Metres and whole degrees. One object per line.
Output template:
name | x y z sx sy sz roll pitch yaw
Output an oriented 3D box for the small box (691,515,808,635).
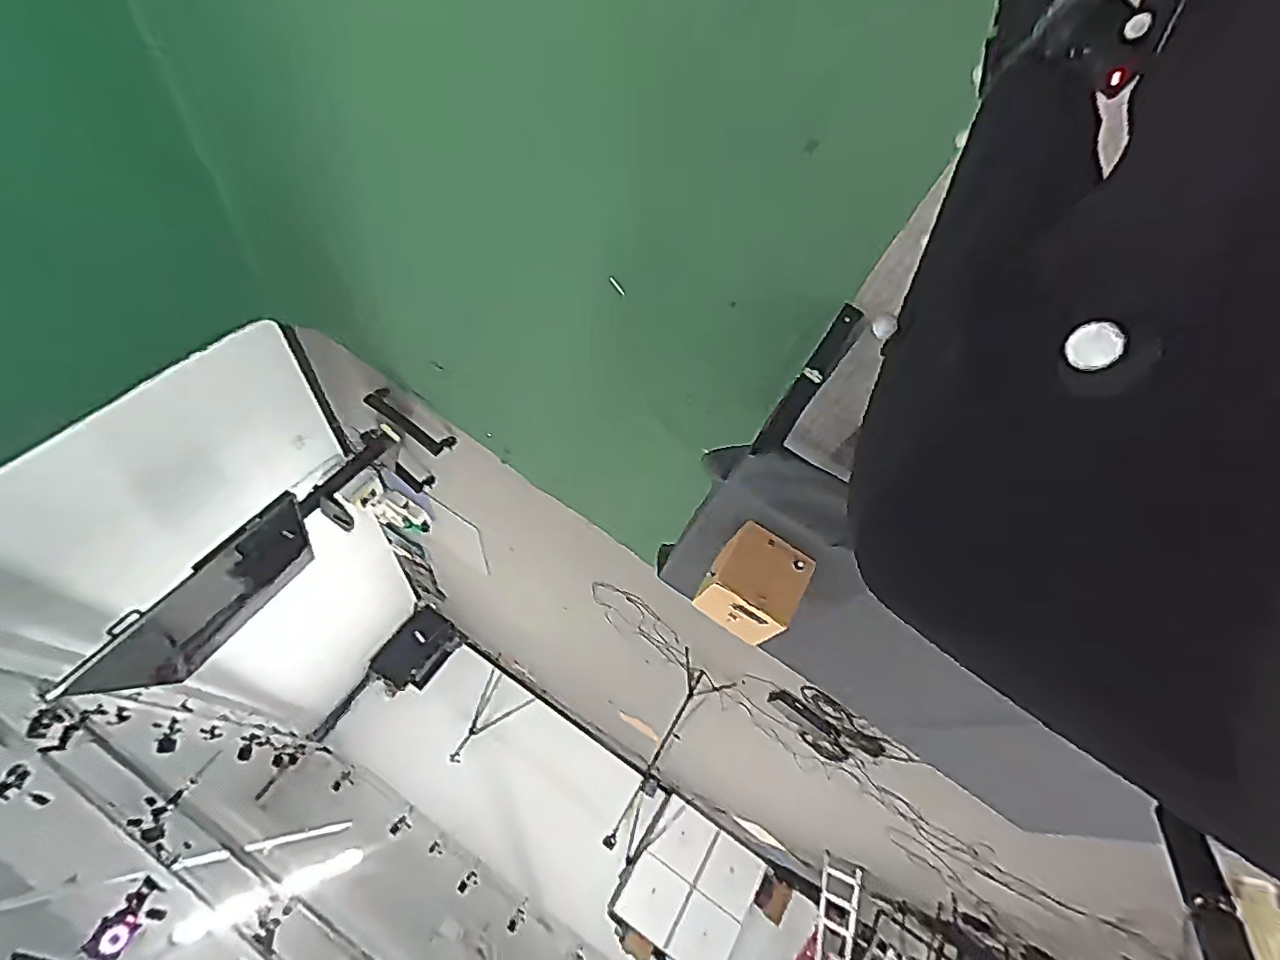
small box | 0.240 0.204 1.167 0.168 0.176 0.179 34 151 5
